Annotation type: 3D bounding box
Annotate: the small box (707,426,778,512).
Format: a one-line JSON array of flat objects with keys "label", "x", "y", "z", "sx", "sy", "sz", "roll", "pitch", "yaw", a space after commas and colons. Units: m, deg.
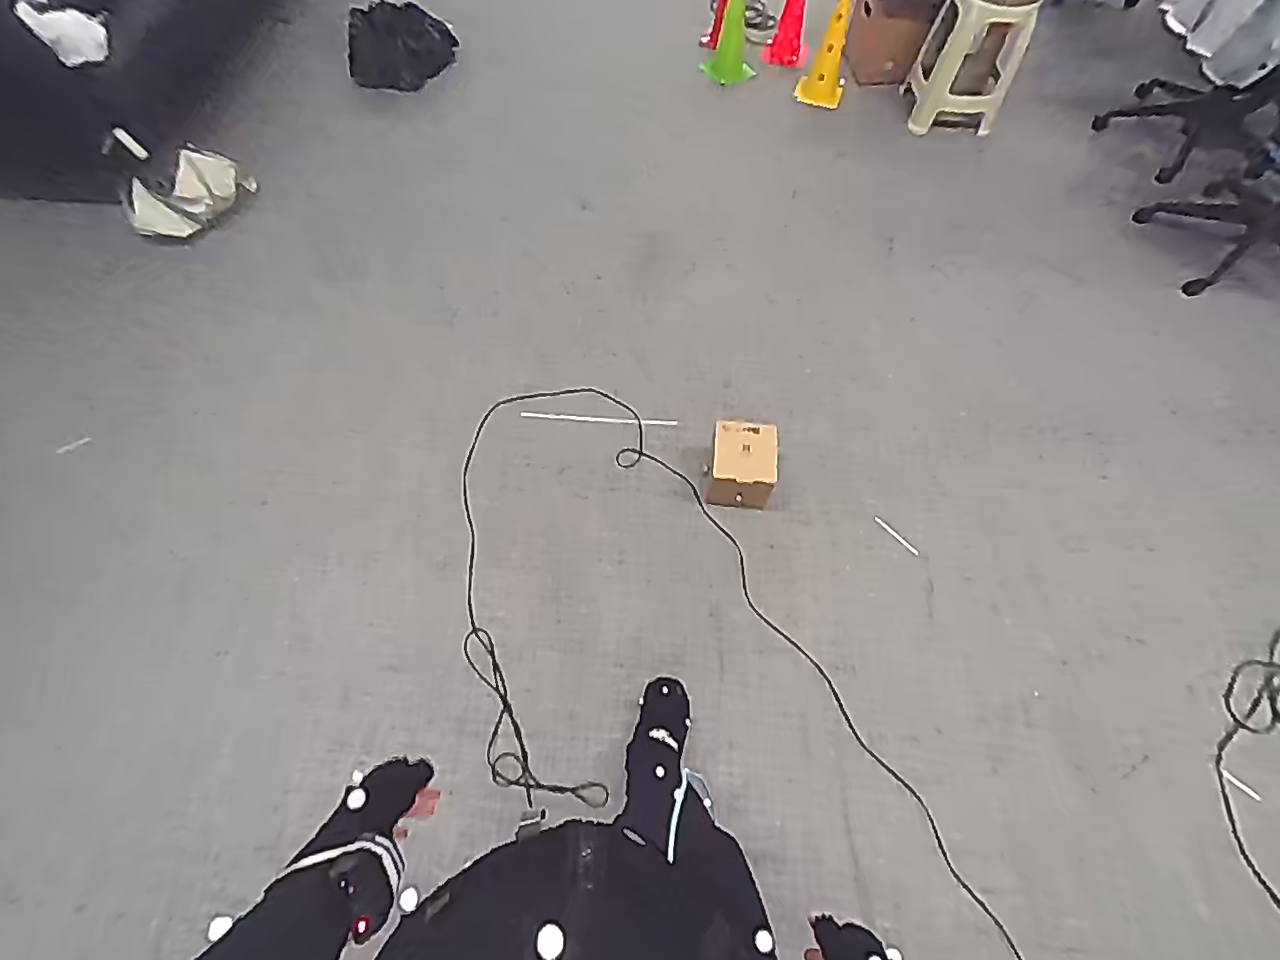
[{"label": "small box", "x": 0.276, "y": -0.025, "z": 1.482, "sx": 0.168, "sy": 0.176, "sz": 0.179, "roll": 7, "pitch": 65, "yaw": 4}]
